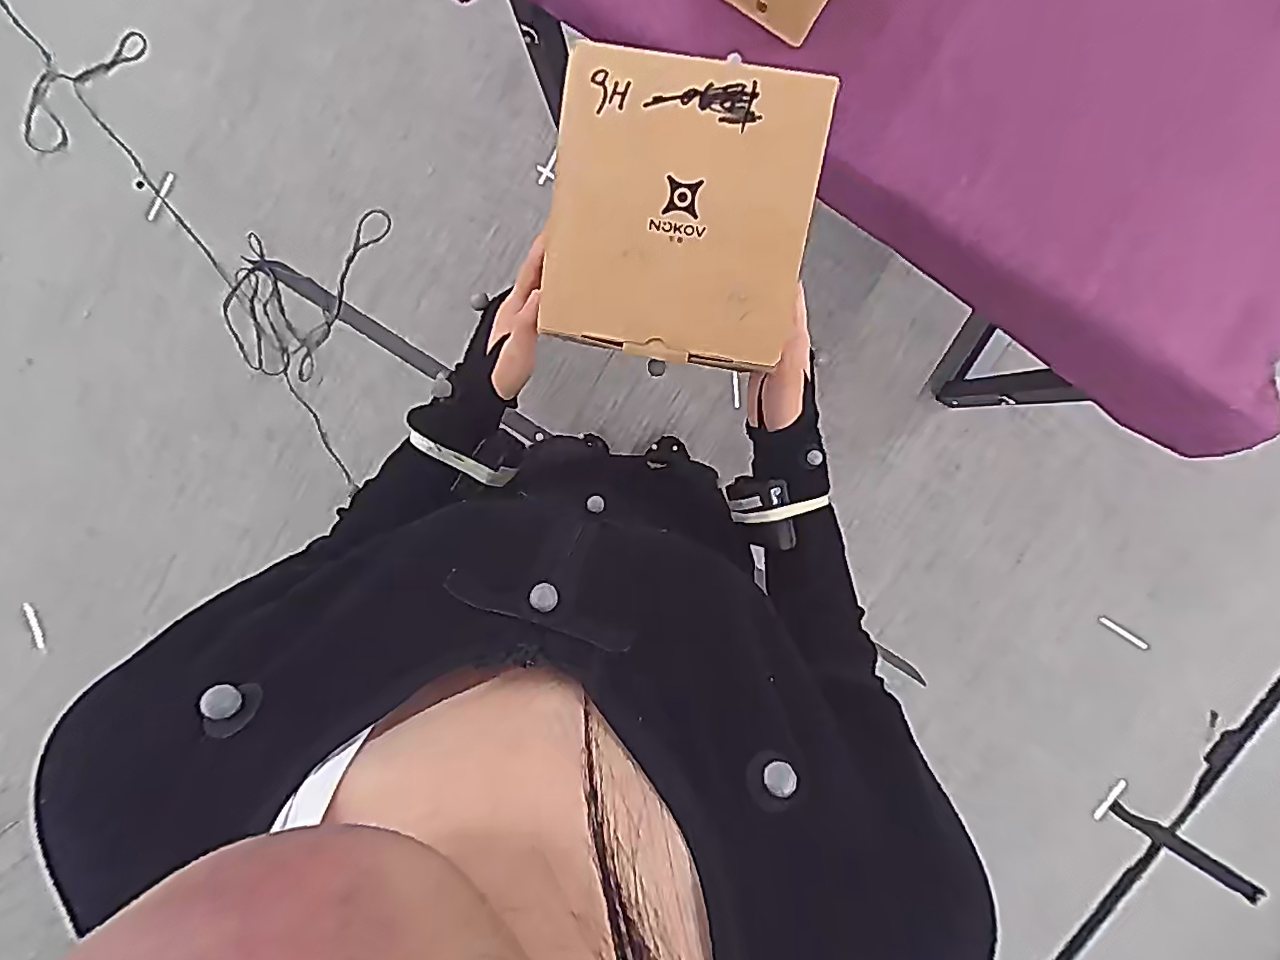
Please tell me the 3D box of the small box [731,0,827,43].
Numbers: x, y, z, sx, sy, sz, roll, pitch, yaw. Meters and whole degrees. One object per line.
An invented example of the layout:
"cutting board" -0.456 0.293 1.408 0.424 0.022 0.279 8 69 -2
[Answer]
"small box" 0.175 -0.657 0.605 0.168 0.176 0.179 33 95 -2

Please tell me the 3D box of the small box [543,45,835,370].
"small box" 0.032 -0.188 0.427 0.168 0.176 0.179 10 102 2
